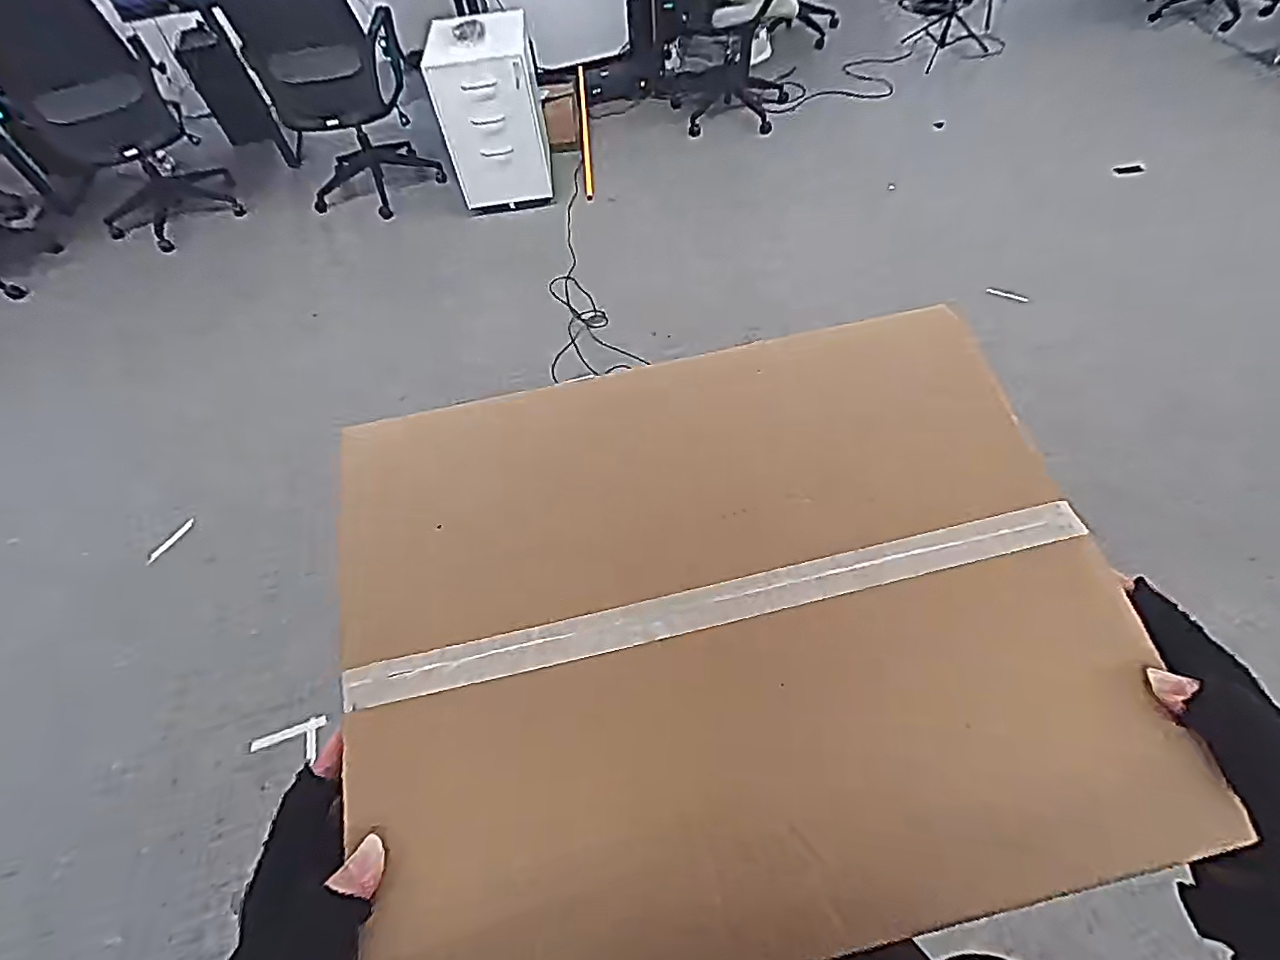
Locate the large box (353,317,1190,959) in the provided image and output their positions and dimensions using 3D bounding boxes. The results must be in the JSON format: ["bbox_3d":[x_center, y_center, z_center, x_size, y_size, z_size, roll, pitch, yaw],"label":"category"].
[{"bbox_3d":[0.049,0.124,0.442,0.408,0.320,0.320,-13,67,-3],"label":"large box"}]
